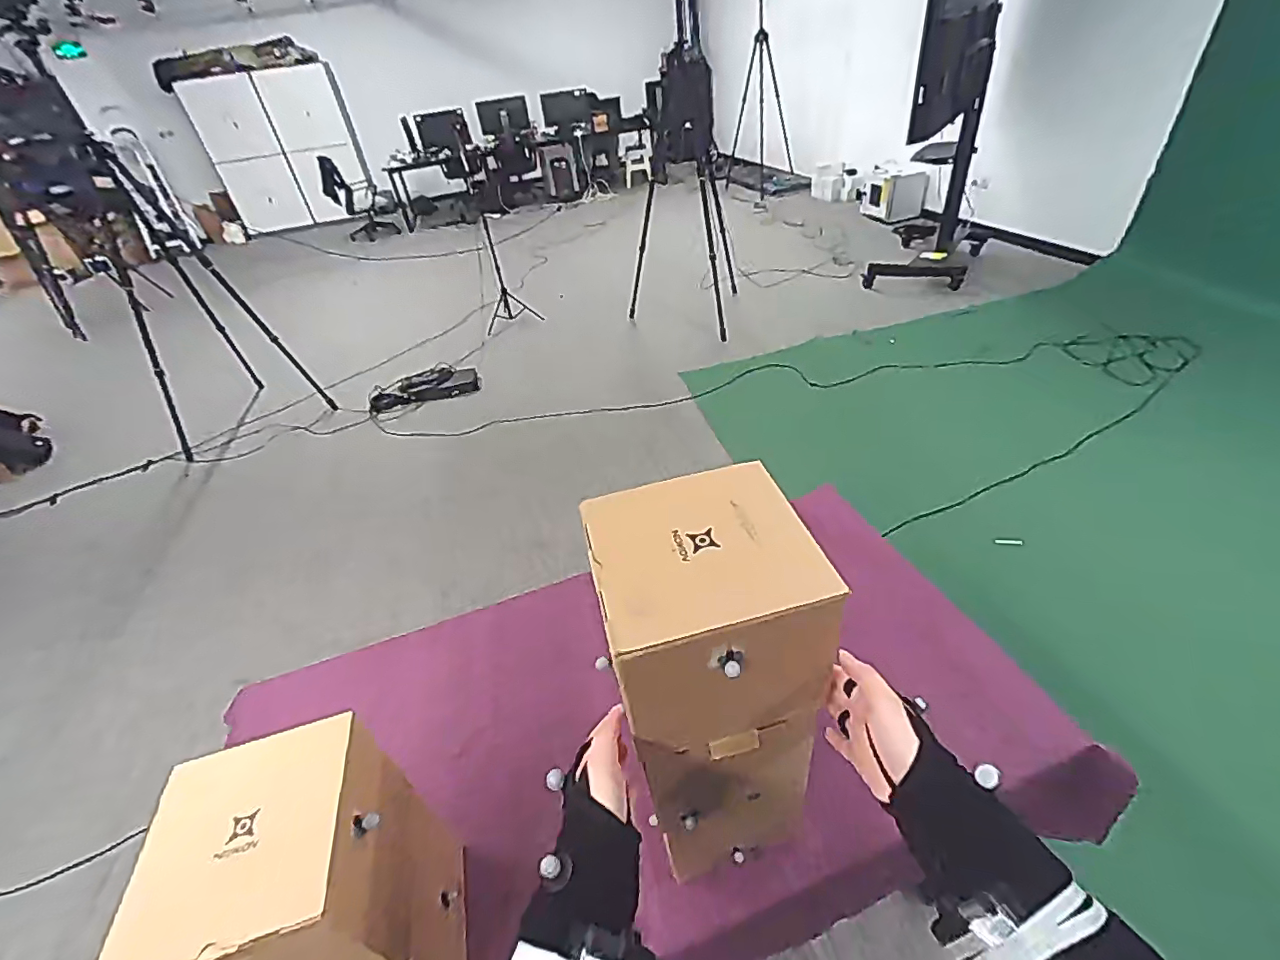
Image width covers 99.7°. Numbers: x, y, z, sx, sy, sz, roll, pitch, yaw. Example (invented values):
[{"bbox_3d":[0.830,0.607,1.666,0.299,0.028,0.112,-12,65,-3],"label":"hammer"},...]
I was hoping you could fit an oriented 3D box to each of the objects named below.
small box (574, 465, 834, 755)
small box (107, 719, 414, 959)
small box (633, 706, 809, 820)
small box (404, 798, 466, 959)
[{"bbox_3d":[0.051,0.116,0.486,0.179,0.176,0.168,-13,40,-5],"label":"small box"},{"bbox_3d":[-0.329,0.370,0.514,0.168,0.176,0.179,-16,39,-8],"label":"small box"},{"bbox_3d":[0.069,0.240,0.591,0.168,0.176,0.179,-15,38,-6],"label":"small box"},{"bbox_3d":[-0.303,0.501,0.608,0.179,0.176,0.168,-16,38,-9],"label":"small box"}]
